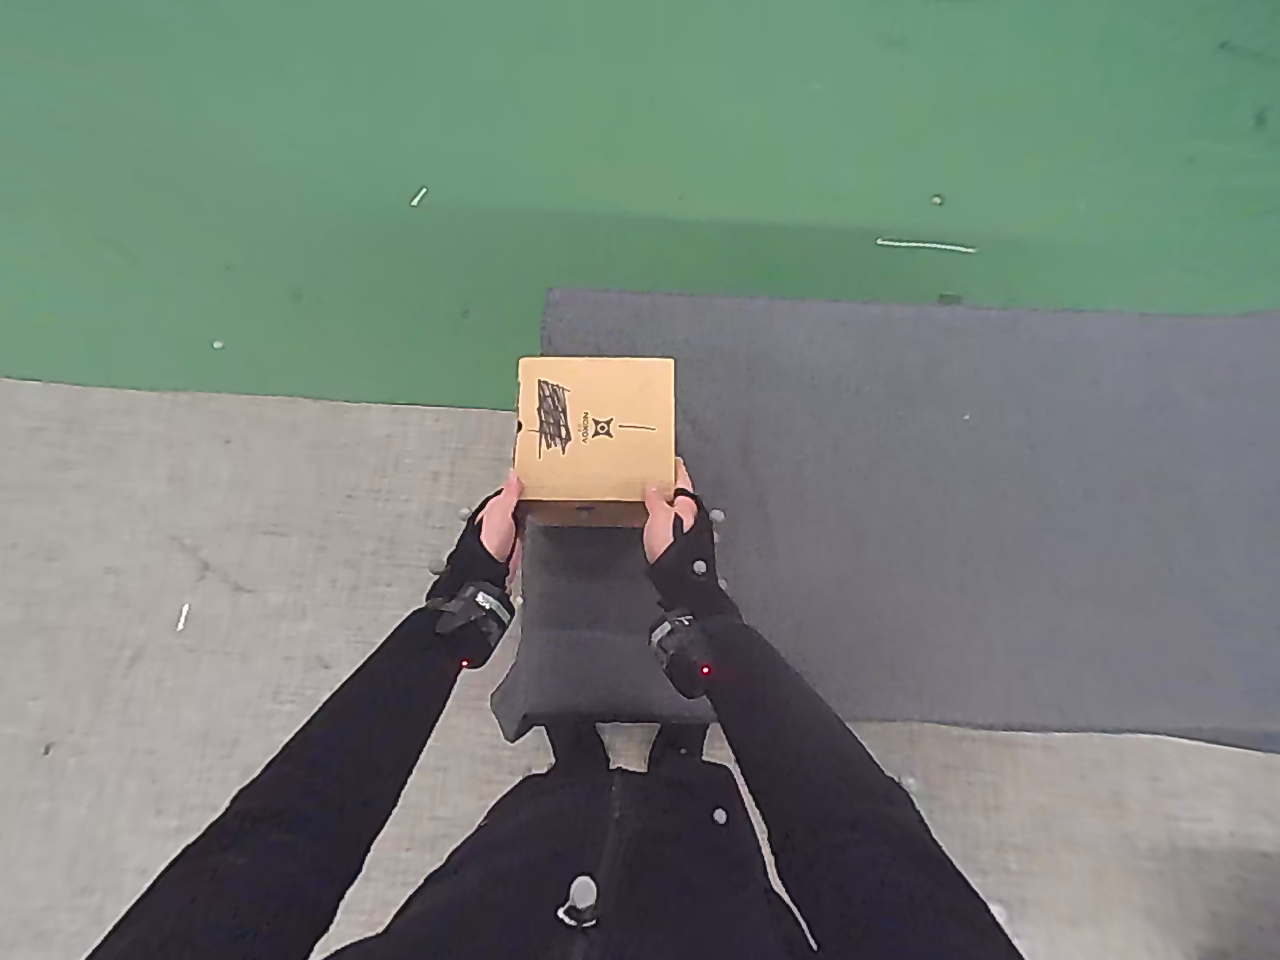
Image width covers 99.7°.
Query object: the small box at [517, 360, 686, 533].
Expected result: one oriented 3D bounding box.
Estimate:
[{"bbox_3d":[-0.040,-0.030,0.653,0.179,0.176,0.168,2,75,-2],"label":"small box"}]
